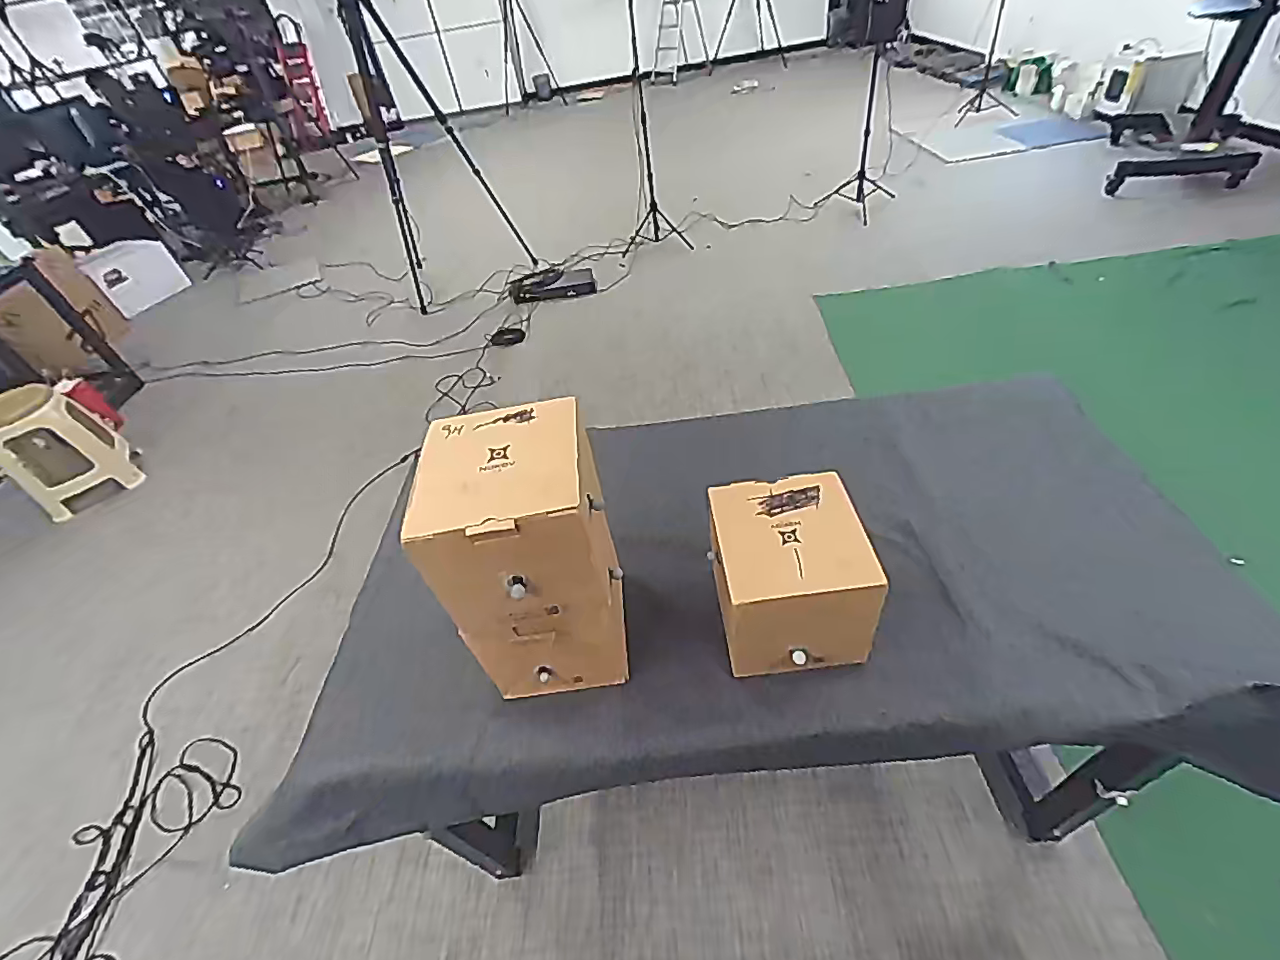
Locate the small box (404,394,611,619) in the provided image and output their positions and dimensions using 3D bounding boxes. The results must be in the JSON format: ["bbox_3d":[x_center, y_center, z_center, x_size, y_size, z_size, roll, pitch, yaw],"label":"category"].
[{"bbox_3d":[-0.129,0.036,0.592,0.168,0.176,0.179,-10,45,1],"label":"small box"}]

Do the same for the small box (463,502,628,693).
[{"bbox_3d":[-0.111,0.151,0.708,0.168,0.176,0.179,-9,44,2],"label":"small box"}]

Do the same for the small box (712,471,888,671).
[{"bbox_3d":[0.184,0.115,0.681,0.168,0.176,0.179,-8,43,3],"label":"small box"}]
